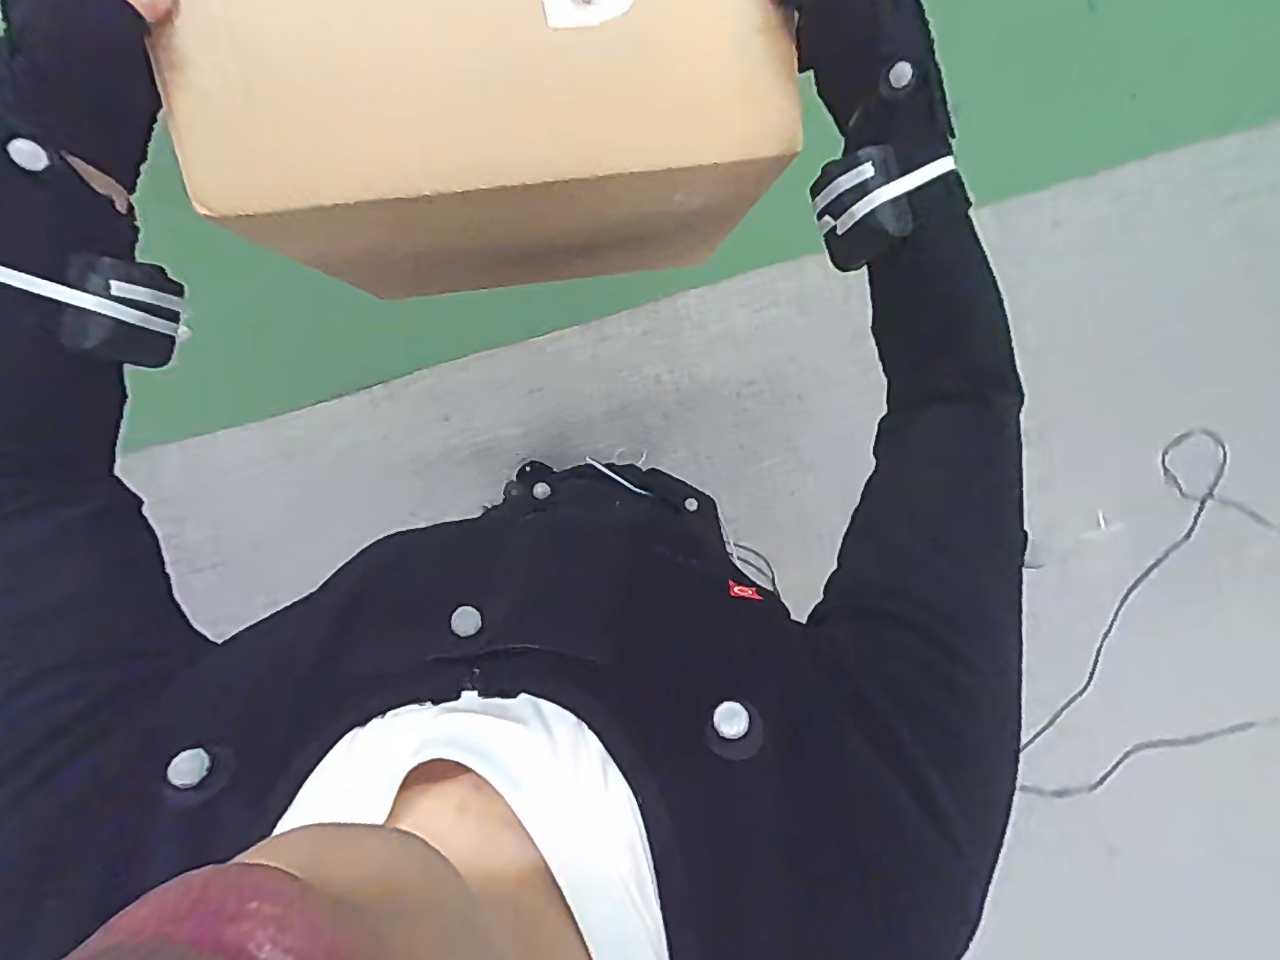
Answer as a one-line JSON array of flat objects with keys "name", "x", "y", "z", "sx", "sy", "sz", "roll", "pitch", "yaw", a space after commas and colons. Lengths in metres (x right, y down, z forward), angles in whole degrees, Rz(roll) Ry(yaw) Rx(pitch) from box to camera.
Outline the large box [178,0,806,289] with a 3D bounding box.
[{"name": "large box", "x": -0.112, "y": -0.382, "z": 0.492, "sx": 0.408, "sy": 0.320, "sz": 0.320, "roll": -8, "pitch": 100, "yaw": -5}]
